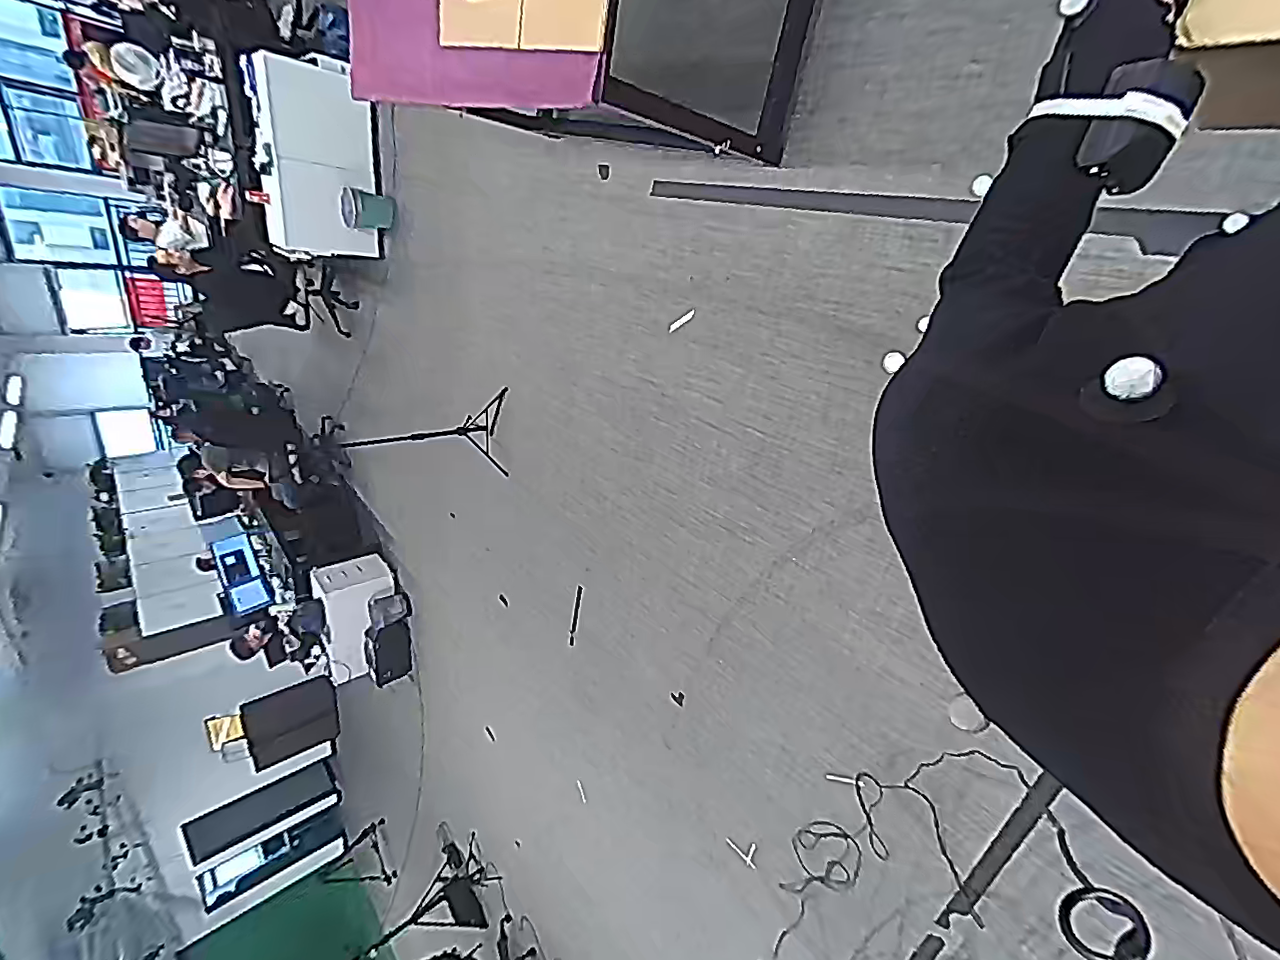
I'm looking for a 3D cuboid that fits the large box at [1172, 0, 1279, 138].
[{"bbox_3d":[0.614,-0.391,0.280,0.408,0.320,0.320,28,124,39],"label":"large box"}]
